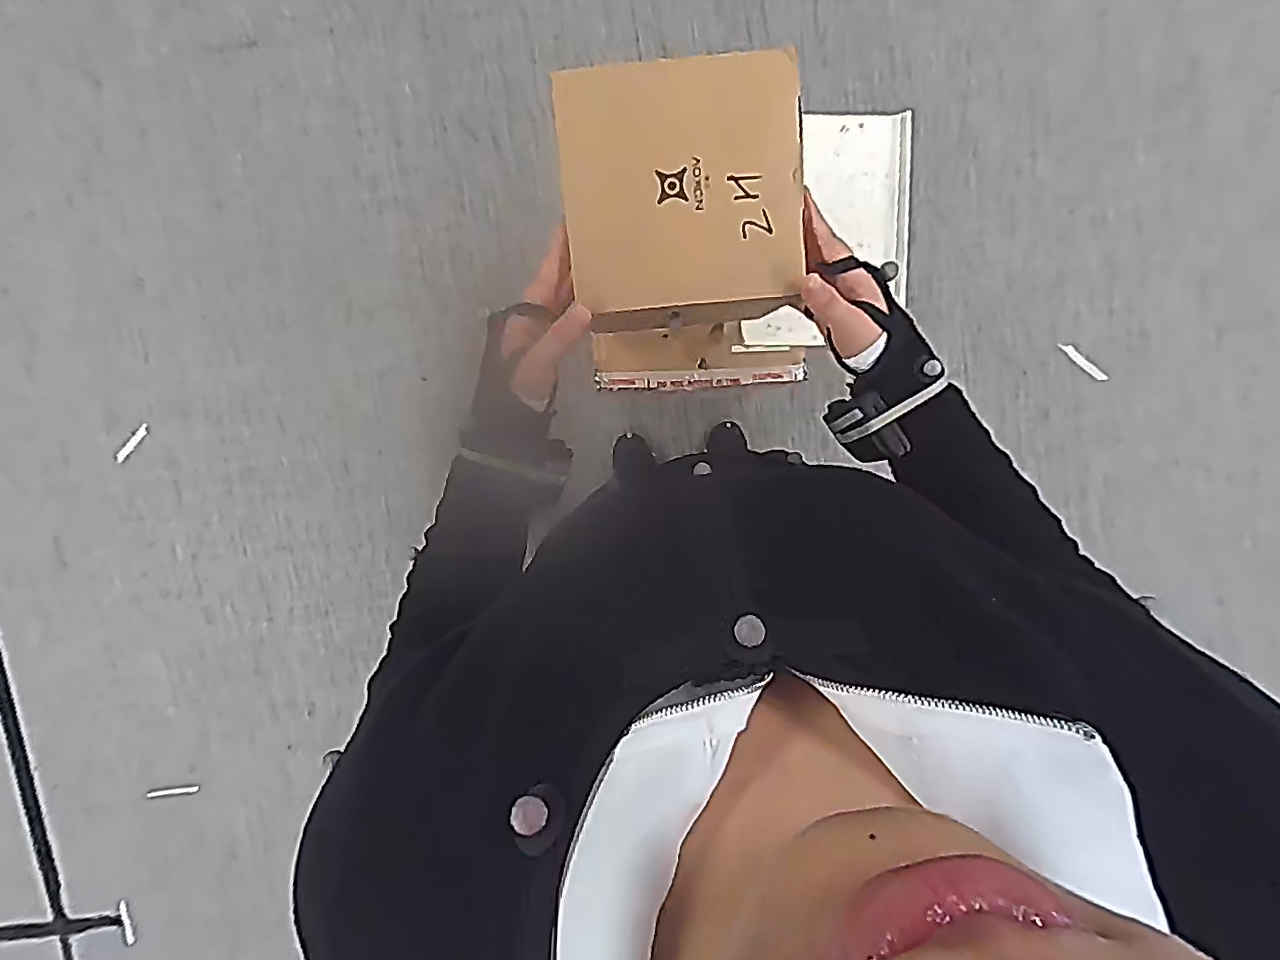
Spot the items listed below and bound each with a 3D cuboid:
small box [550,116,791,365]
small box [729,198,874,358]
[{"bbox_3d":[0.026,-0.193,0.484,0.179,0.176,0.168,-4,101,0],"label":"small box"},{"bbox_3d":[0.205,-0.269,0.753,0.168,0.176,0.179,-1,97,-2],"label":"small box"}]
